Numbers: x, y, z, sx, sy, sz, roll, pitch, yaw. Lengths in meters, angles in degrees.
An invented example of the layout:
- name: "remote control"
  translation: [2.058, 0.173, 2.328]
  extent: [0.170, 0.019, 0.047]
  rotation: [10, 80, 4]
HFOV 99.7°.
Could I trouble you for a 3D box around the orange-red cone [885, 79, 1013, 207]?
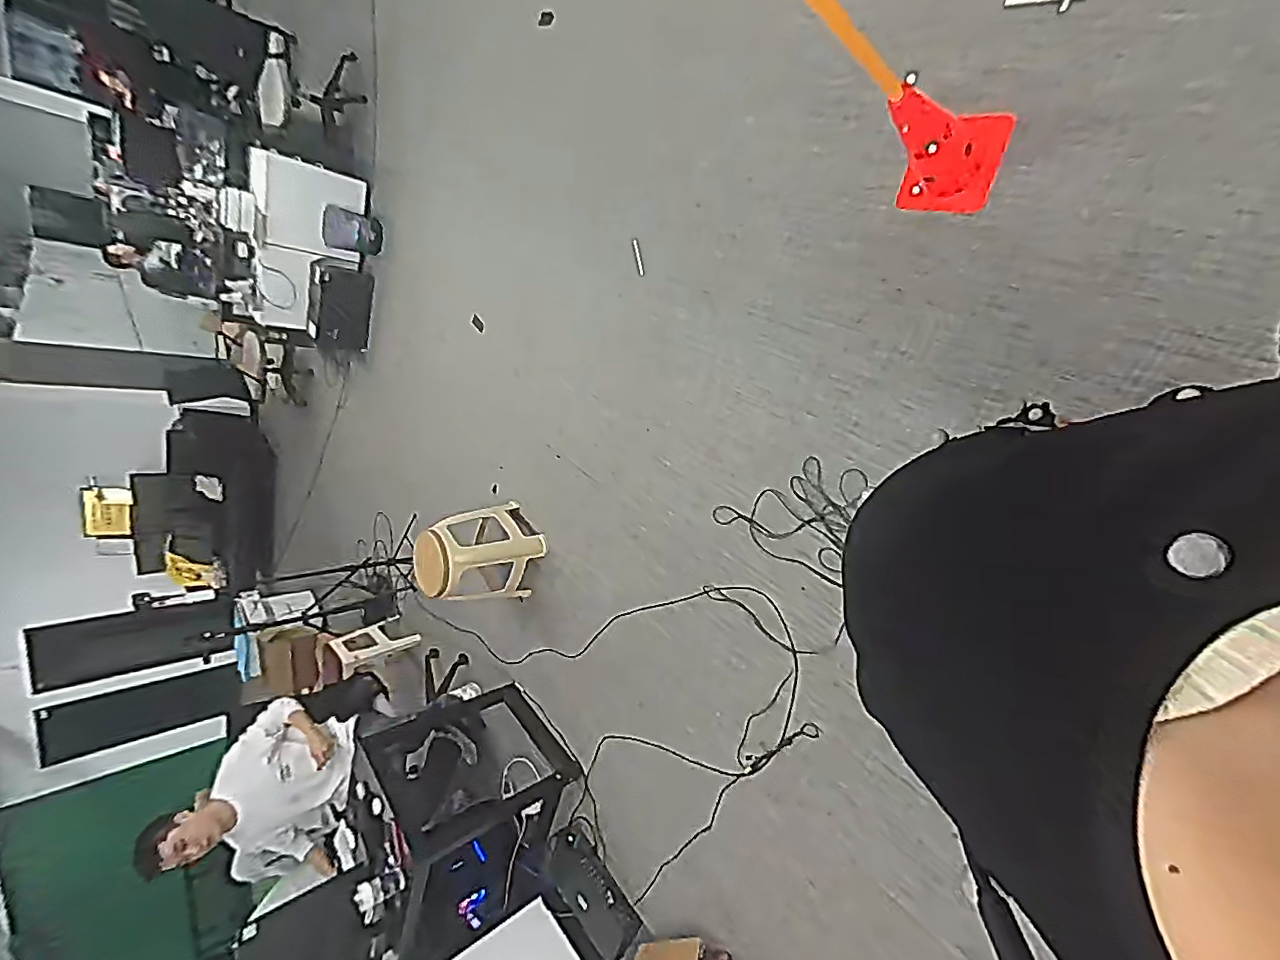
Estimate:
- name: "orange-red cone"
  translation: [0.584, -0.716, 1.098]
  extent: [0.199, 0.360, 0.198]
  rotation: [29, 113, 38]
